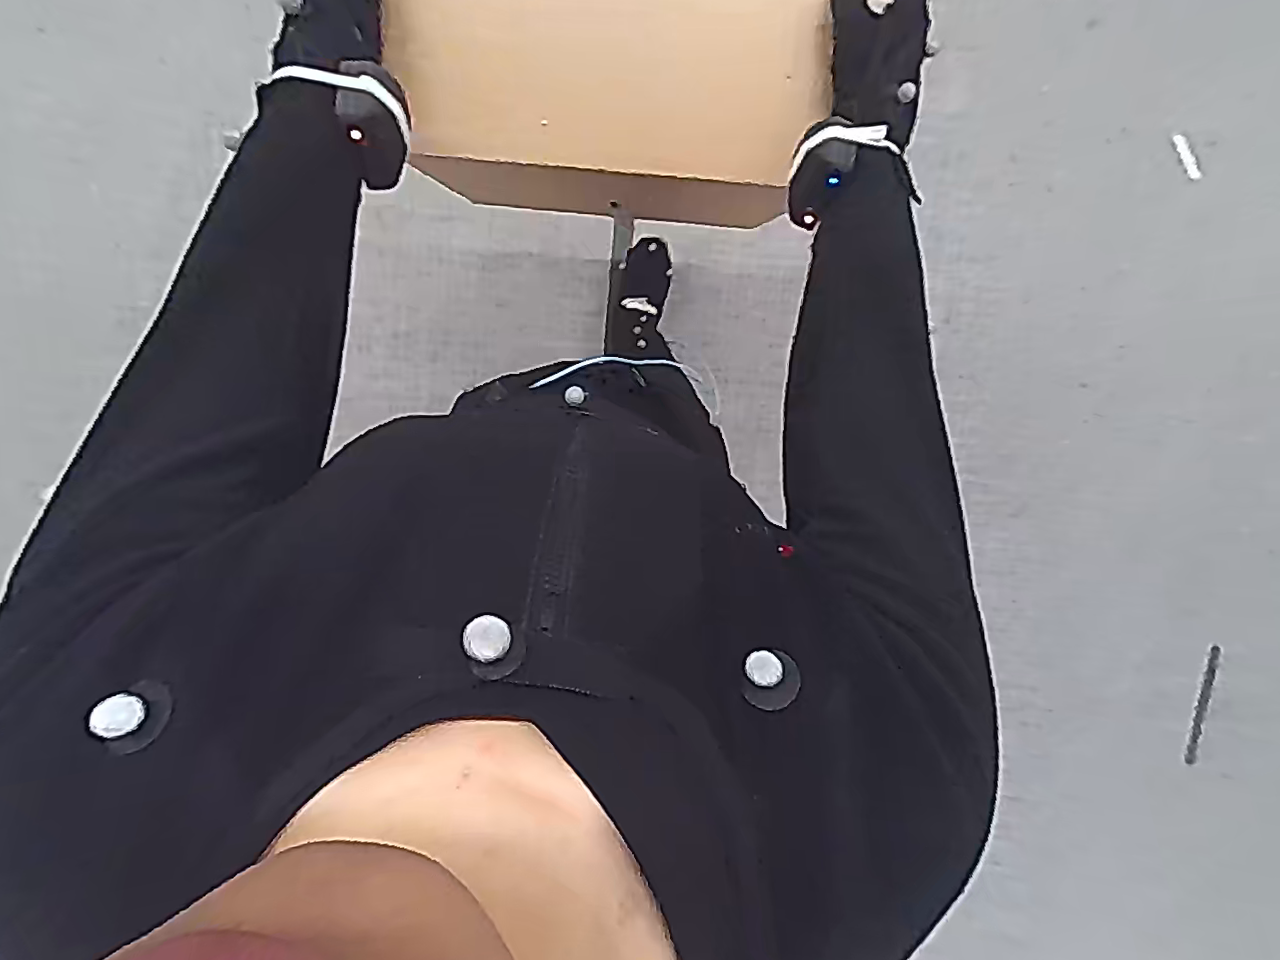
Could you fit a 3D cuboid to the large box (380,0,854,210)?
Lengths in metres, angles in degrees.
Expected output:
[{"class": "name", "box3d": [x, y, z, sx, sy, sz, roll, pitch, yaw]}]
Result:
[{"class": "large box", "box3d": [-0.017, -0.486, 0.580, 0.408, 0.320, 0.320, 3, 109, -3]}]
